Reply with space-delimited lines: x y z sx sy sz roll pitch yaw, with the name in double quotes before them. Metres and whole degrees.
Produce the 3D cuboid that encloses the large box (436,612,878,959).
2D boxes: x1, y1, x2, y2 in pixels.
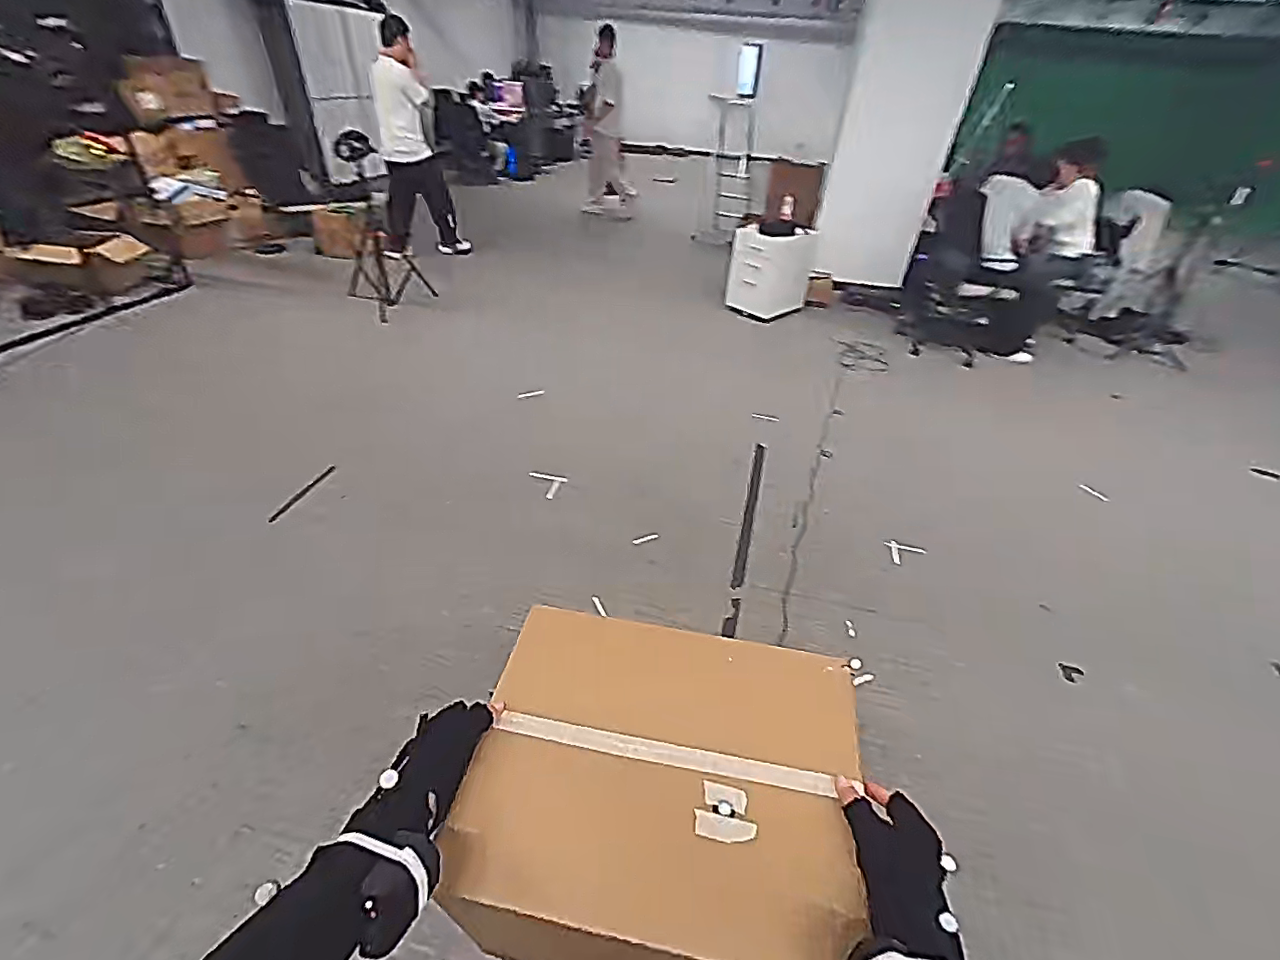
"large box" 0.027 0.410 0.678 0.408 0.320 0.320 8 41 8
